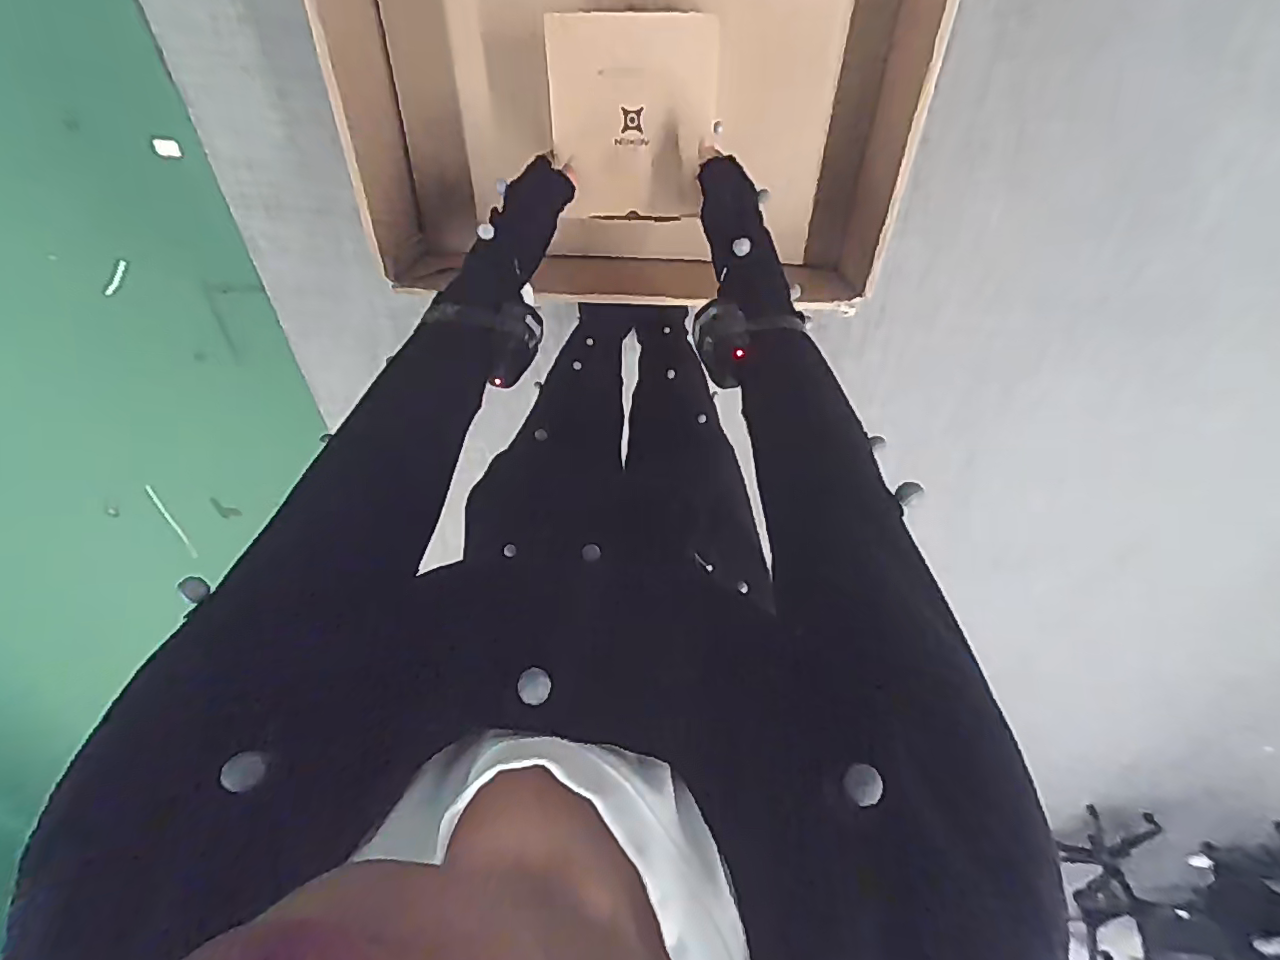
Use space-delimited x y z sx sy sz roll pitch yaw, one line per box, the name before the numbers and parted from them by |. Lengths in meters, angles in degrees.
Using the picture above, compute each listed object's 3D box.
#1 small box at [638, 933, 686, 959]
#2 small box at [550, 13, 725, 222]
small box | 0.084 1.819 2.019 0.179 0.176 0.168 -1 129 6
small box | -0.001 -0.403 0.611 0.168 0.176 0.179 1 124 1
